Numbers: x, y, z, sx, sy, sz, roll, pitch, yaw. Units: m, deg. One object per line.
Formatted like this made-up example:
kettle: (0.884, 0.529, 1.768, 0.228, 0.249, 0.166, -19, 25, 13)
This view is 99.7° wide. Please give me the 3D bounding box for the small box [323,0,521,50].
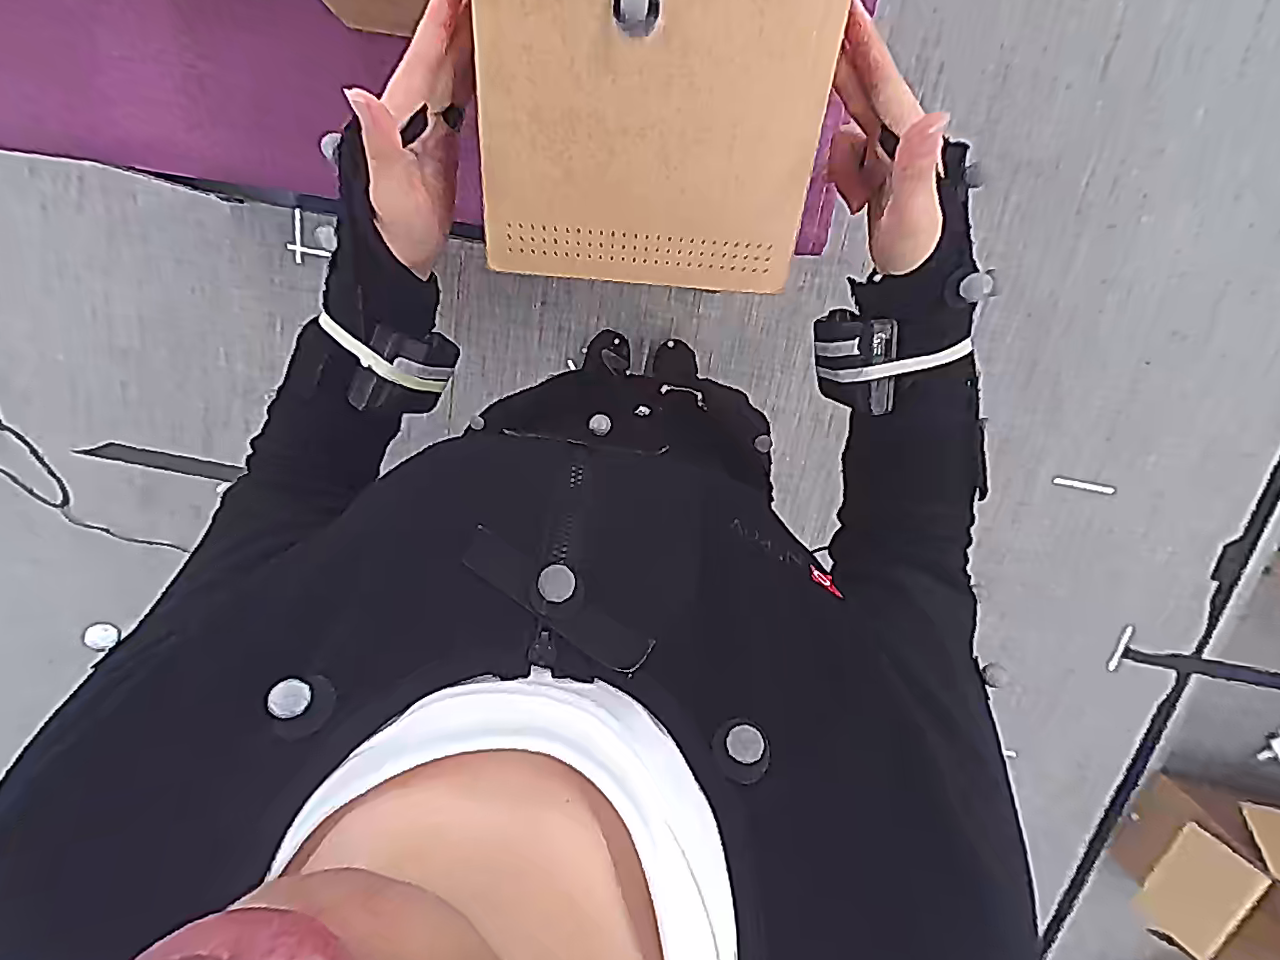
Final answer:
small box: (-0.189, -0.481, 0.425, 0.179, 0.176, 0.168, 9, 104, 1)
